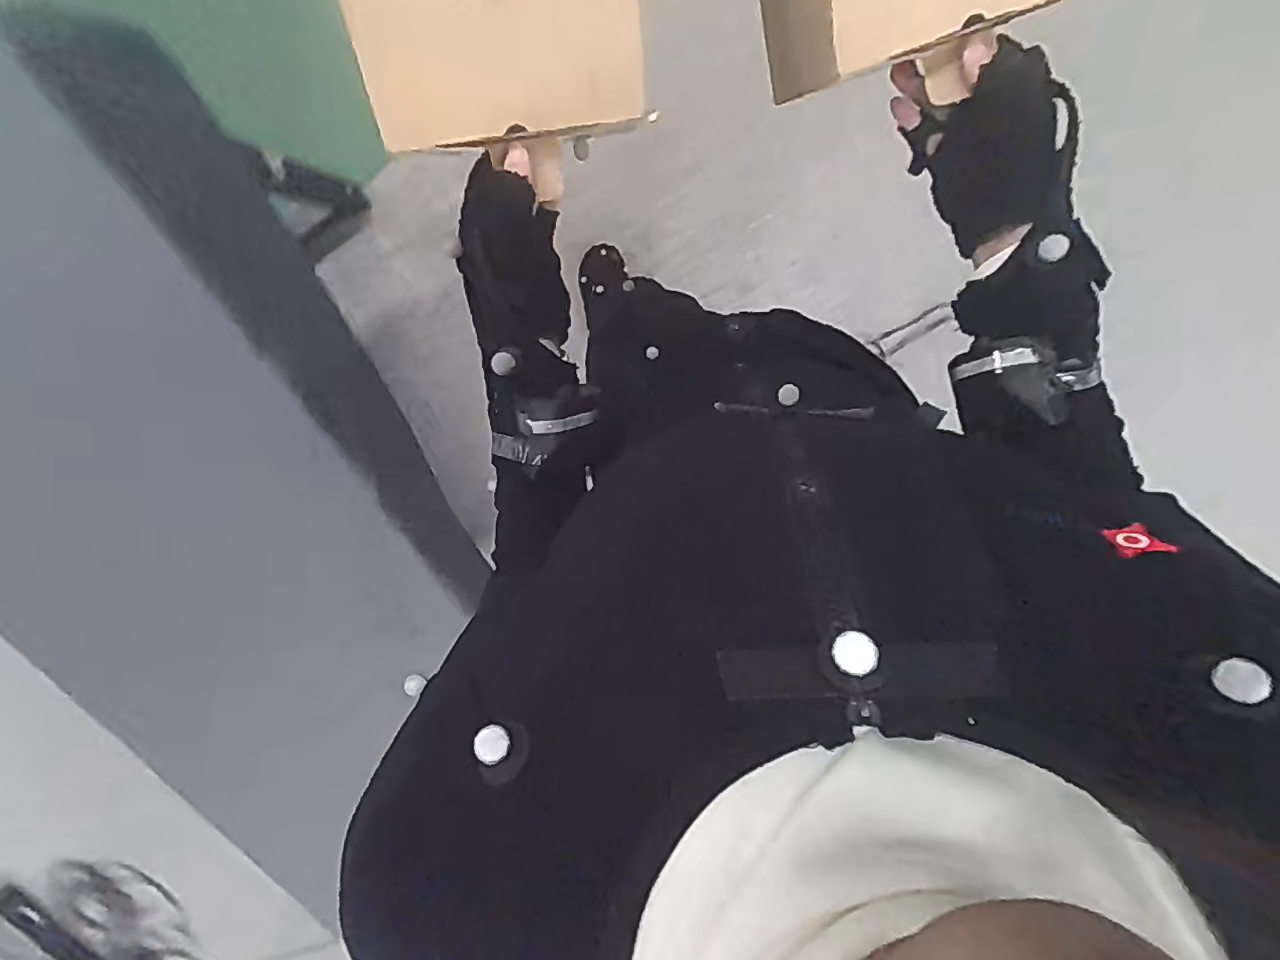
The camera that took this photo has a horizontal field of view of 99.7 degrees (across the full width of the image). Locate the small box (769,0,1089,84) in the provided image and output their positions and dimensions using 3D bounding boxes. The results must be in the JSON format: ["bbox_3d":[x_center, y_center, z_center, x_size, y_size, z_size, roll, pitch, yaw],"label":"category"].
[{"bbox_3d":[0.183,-0.389,0.359,0.168,0.176,0.179,-14,120,6],"label":"small box"}]
